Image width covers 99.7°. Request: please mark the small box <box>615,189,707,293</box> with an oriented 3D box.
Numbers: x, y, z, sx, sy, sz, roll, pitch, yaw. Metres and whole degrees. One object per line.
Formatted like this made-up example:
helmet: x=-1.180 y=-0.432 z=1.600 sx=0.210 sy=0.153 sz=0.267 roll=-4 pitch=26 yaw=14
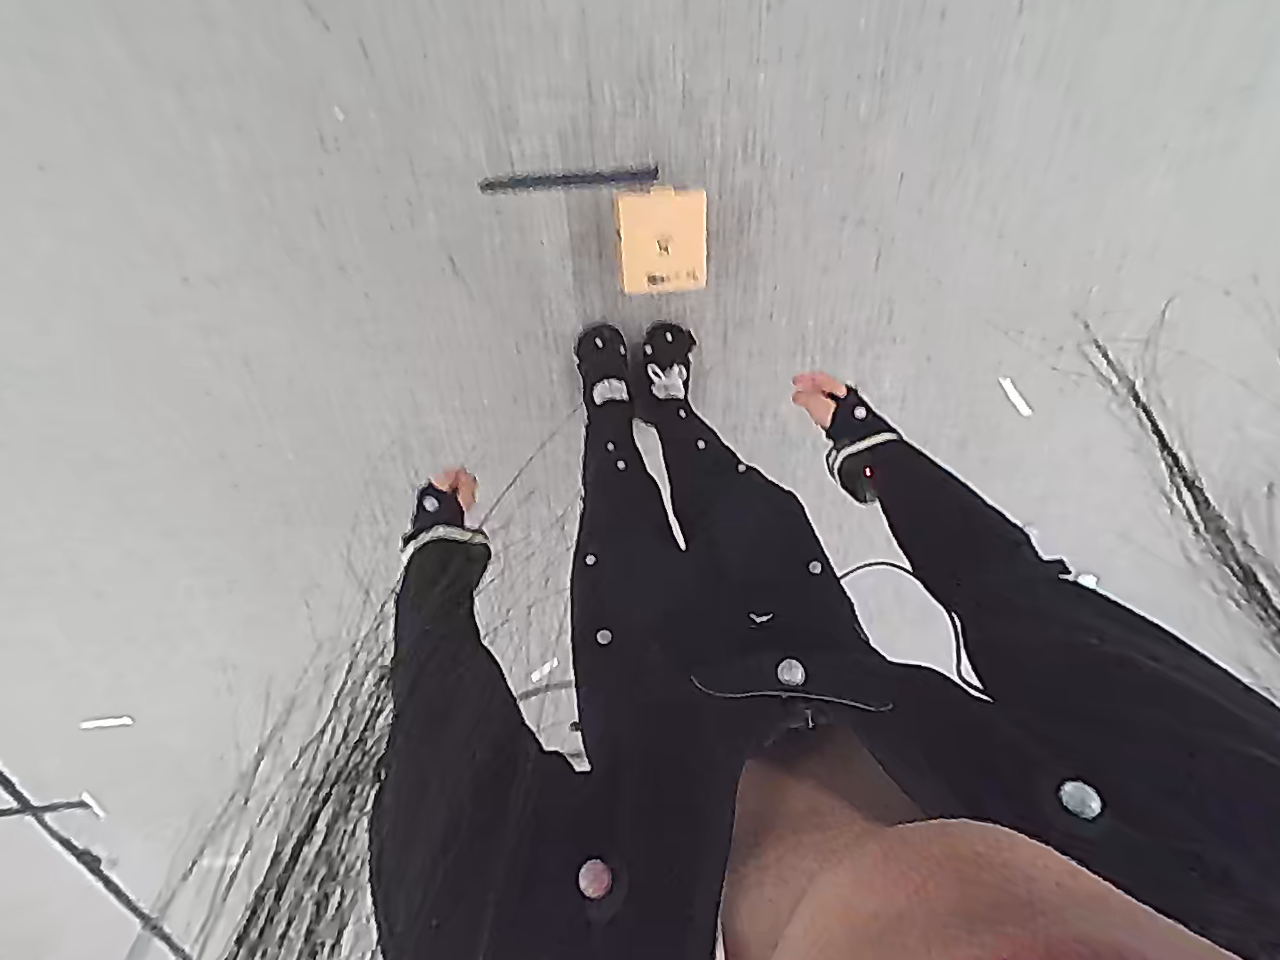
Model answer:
small box: x=0.039 y=-0.488 z=1.103 sx=0.168 sy=0.176 sz=0.179 roll=-6 pitch=117 yaw=-3
